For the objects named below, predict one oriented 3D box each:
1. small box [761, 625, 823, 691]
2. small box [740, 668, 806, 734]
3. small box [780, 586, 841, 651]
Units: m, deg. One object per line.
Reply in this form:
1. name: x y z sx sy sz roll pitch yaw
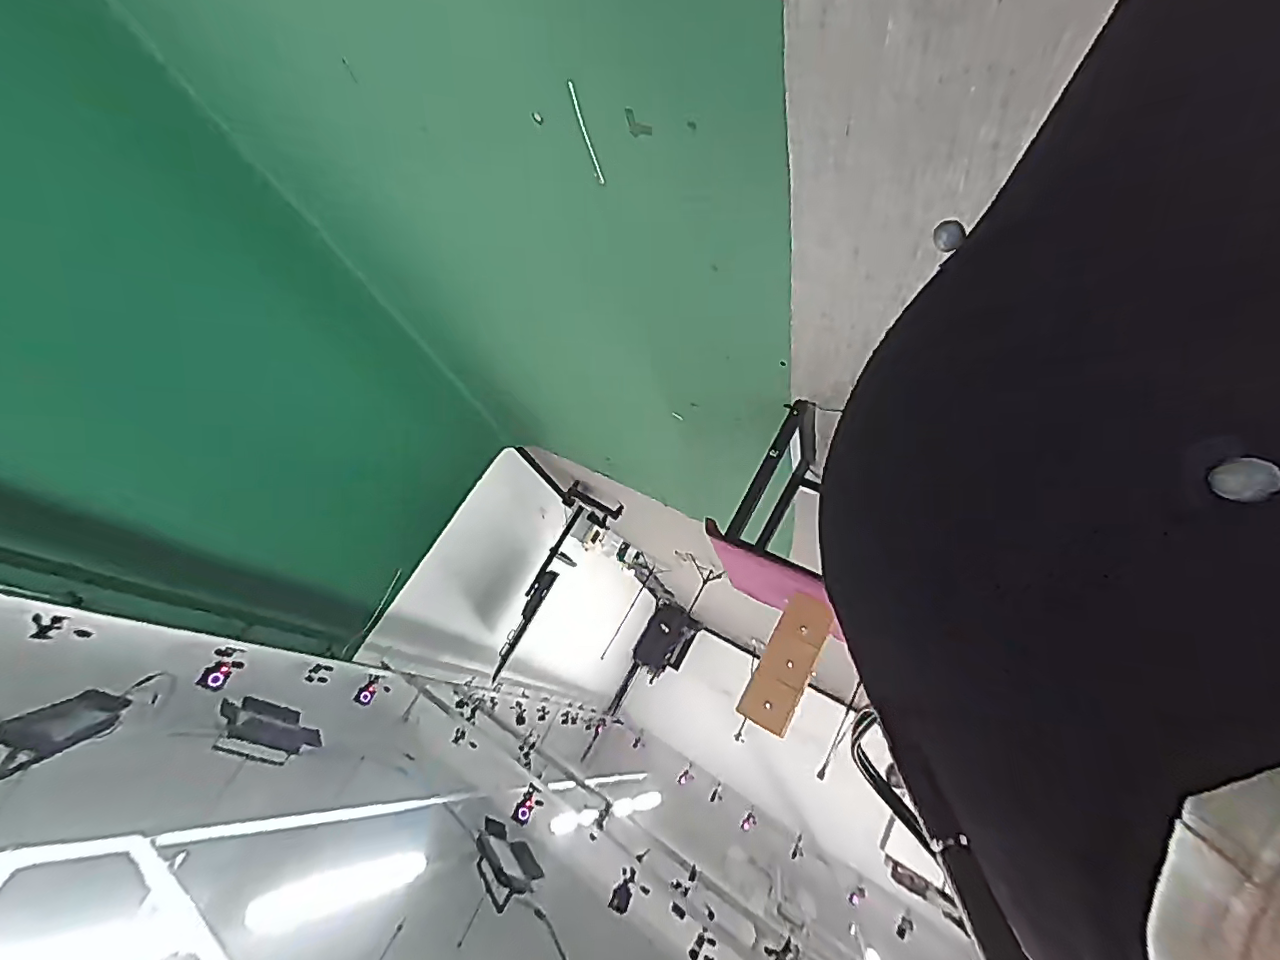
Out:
1. small box: 0.569 0.662 2.014 0.179 0.176 0.168 22 162 25
2. small box: 0.488 0.800 1.972 0.179 0.176 0.168 22 162 26
3. small box: 0.648 0.525 2.055 0.179 0.176 0.168 24 163 24
